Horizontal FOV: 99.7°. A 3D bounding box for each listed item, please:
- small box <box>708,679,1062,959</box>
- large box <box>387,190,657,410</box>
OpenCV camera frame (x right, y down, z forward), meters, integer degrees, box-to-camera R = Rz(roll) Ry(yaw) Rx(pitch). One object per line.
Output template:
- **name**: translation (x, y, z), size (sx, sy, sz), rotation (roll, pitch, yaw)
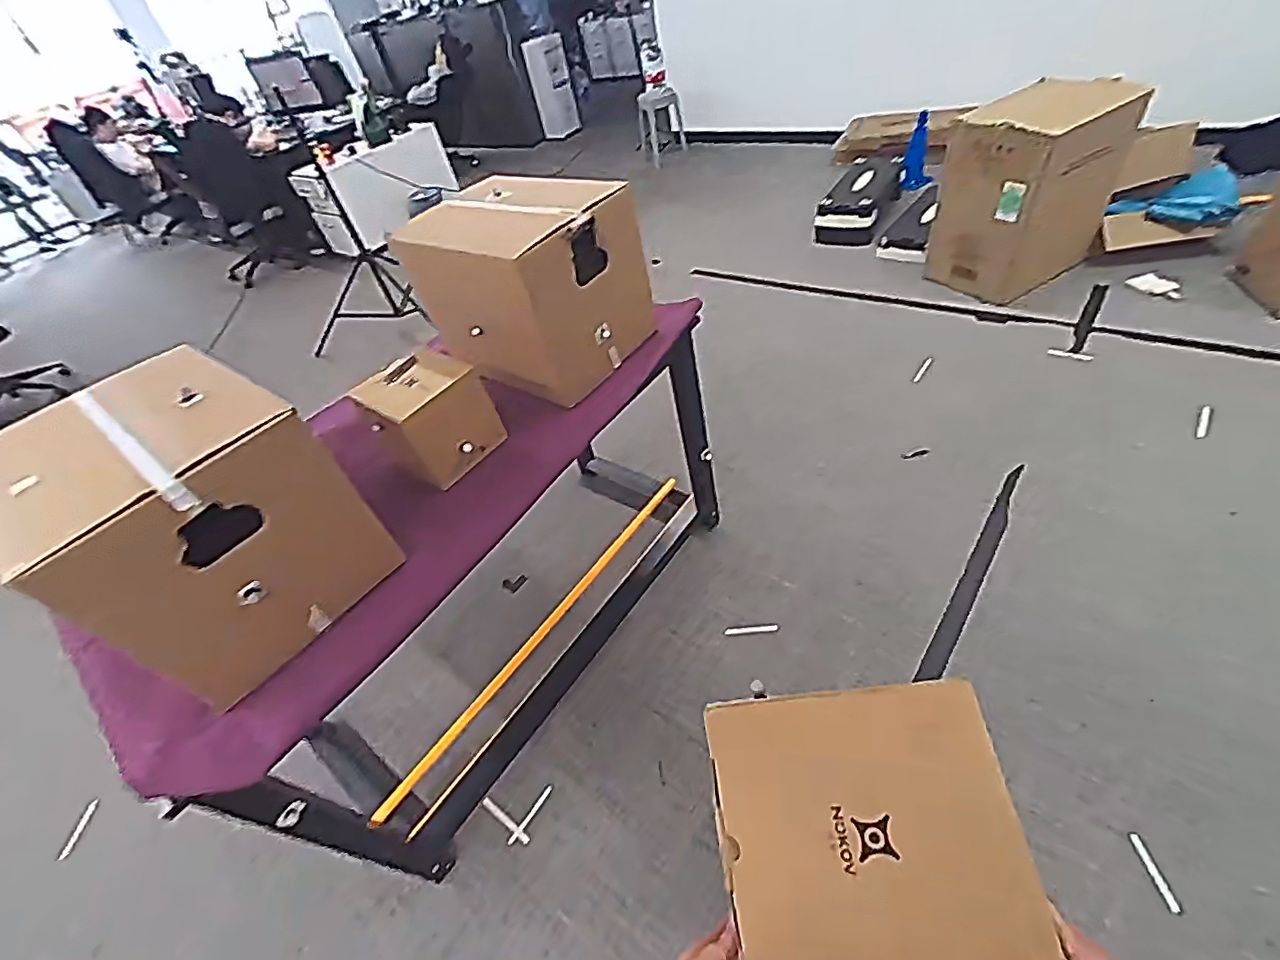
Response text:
- **small box**: translation (0.153, 0.245, 0.402), size (0.179, 0.176, 0.168), rotation (-10, 65, 9)
- **large box**: translation (-0.230, -0.391, 1.145), size (0.408, 0.320, 0.320), rotation (21, 55, 33)
